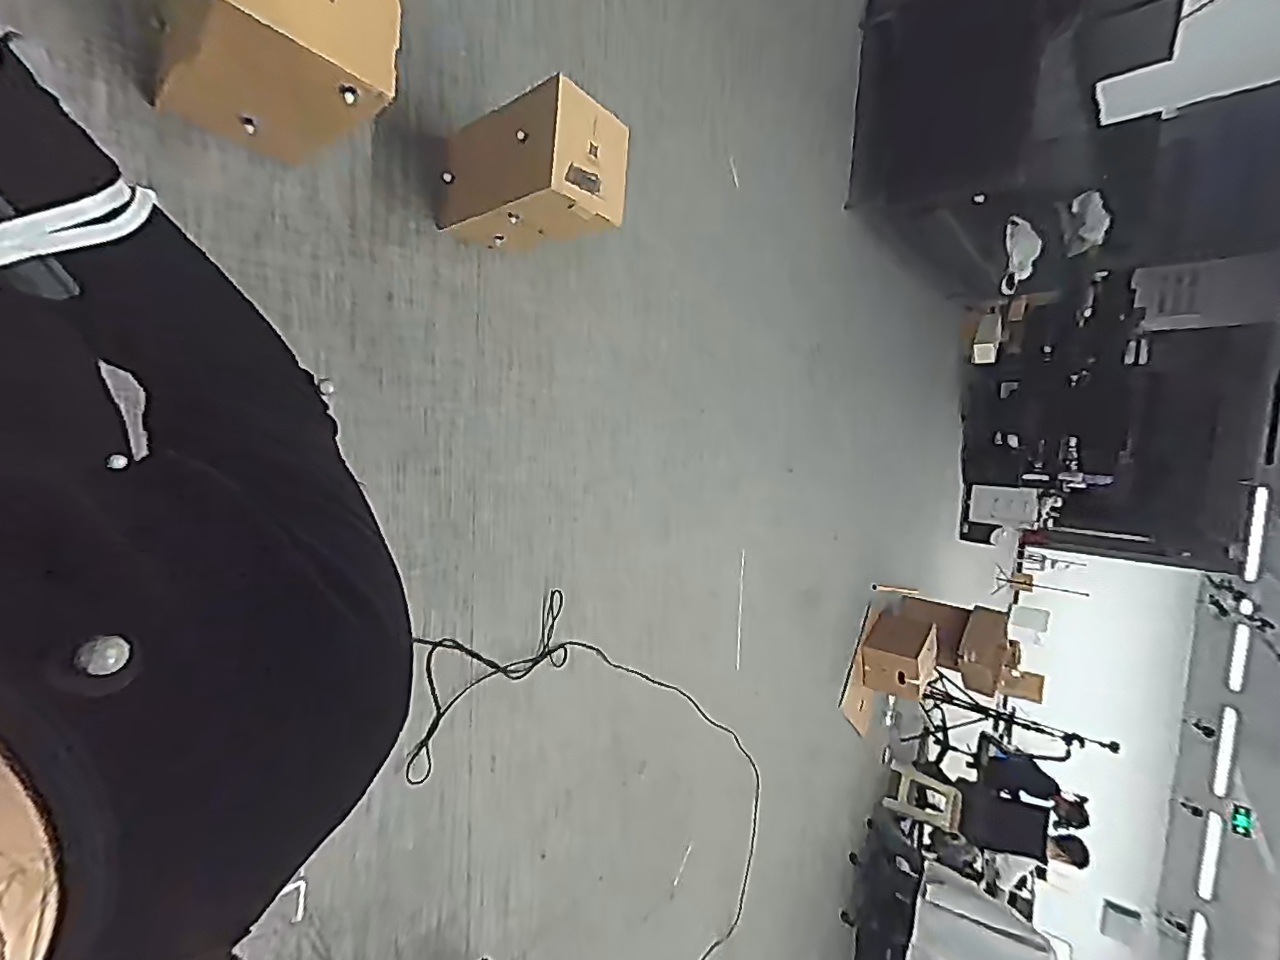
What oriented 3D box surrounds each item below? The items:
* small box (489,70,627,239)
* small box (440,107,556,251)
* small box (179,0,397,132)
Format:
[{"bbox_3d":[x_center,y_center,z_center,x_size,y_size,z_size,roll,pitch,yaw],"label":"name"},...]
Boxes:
[{"bbox_3d":[-0.144,-0.542,0.935,0.168,0.176,0.179,2,92,-50],"label":"small box"},{"bbox_3d":[-0.268,-0.561,1.042,0.168,0.176,0.179,0,95,-50],"label":"small box"},{"bbox_3d":[-0.406,-0.545,0.626,0.179,0.176,0.168,2,93,-50],"label":"small box"}]
